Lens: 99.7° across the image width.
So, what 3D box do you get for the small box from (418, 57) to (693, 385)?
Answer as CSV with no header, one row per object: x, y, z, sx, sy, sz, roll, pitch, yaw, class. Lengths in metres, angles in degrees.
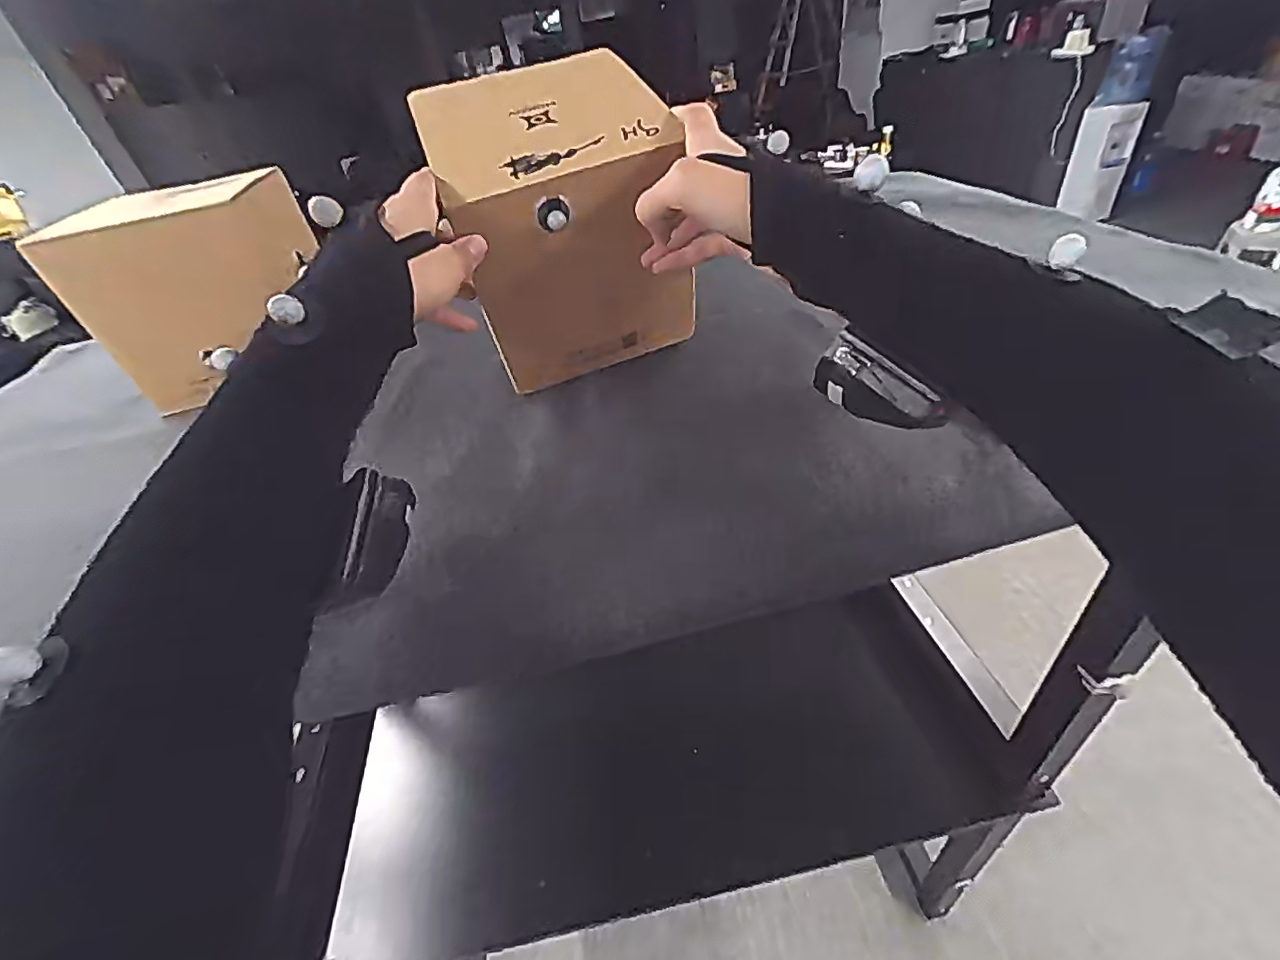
-0.064,-0.211,0.451,0.168,0.176,0.179,-20,56,-7,small box
